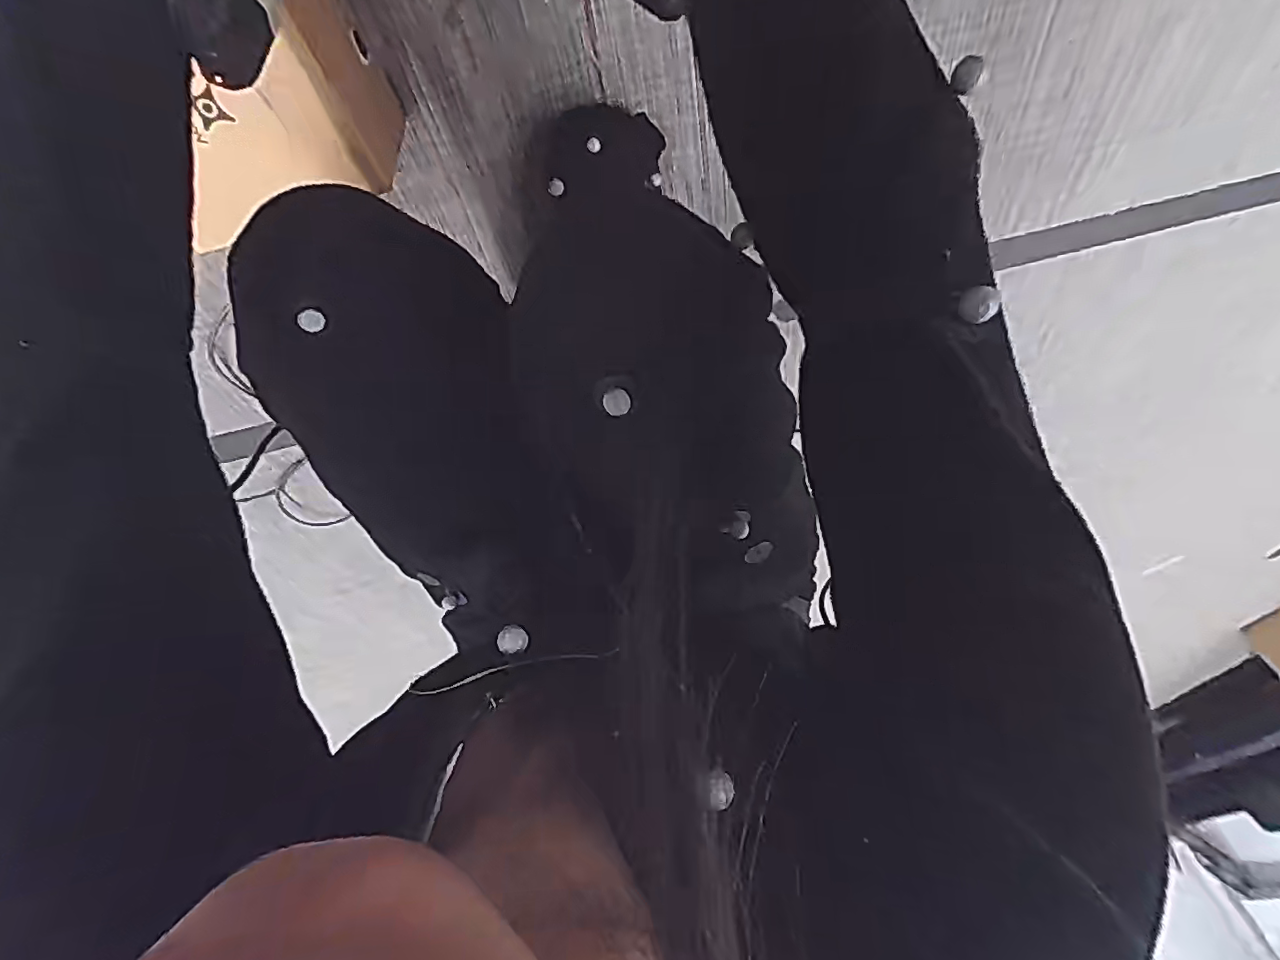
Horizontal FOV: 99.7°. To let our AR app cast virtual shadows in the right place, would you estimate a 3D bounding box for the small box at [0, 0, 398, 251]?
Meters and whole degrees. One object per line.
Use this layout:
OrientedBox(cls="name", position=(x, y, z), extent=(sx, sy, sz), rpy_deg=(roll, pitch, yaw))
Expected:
OrientedBox(cls="small box", position=(-0.310, -0.313, 0.411), extent=(0.179, 0.176, 0.168), rpy_deg=(-18, 143, 4))
